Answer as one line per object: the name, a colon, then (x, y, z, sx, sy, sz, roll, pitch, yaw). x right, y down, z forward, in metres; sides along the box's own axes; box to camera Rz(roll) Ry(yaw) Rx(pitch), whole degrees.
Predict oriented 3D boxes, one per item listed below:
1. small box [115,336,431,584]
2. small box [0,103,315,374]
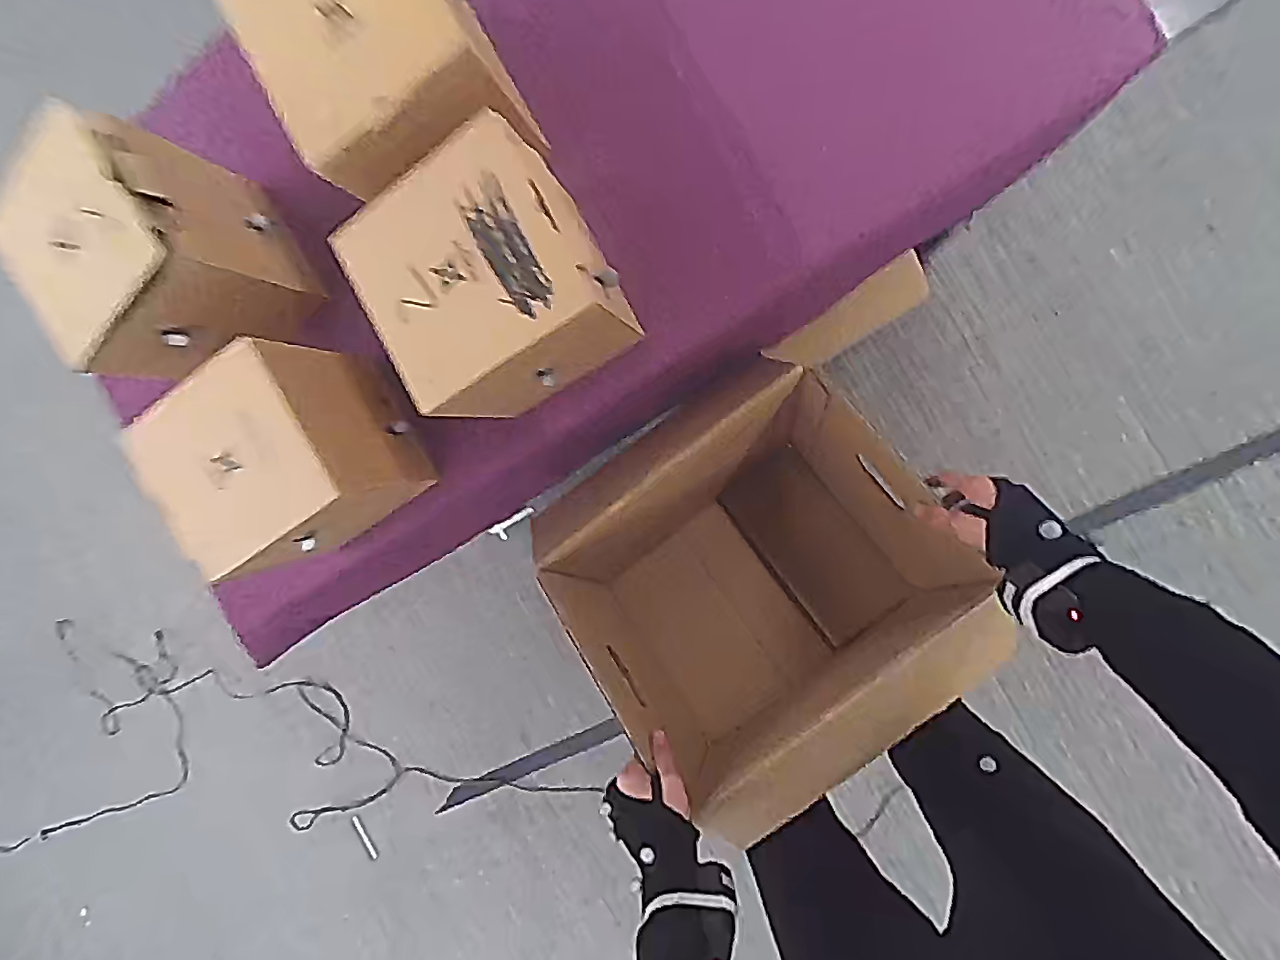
small box: (-0.358, -0.021, 0.558, 0.179, 0.176, 0.168, -31, 90, 12)
small box: (-0.492, -0.222, 0.561, 0.179, 0.176, 0.168, -33, 90, 13)
